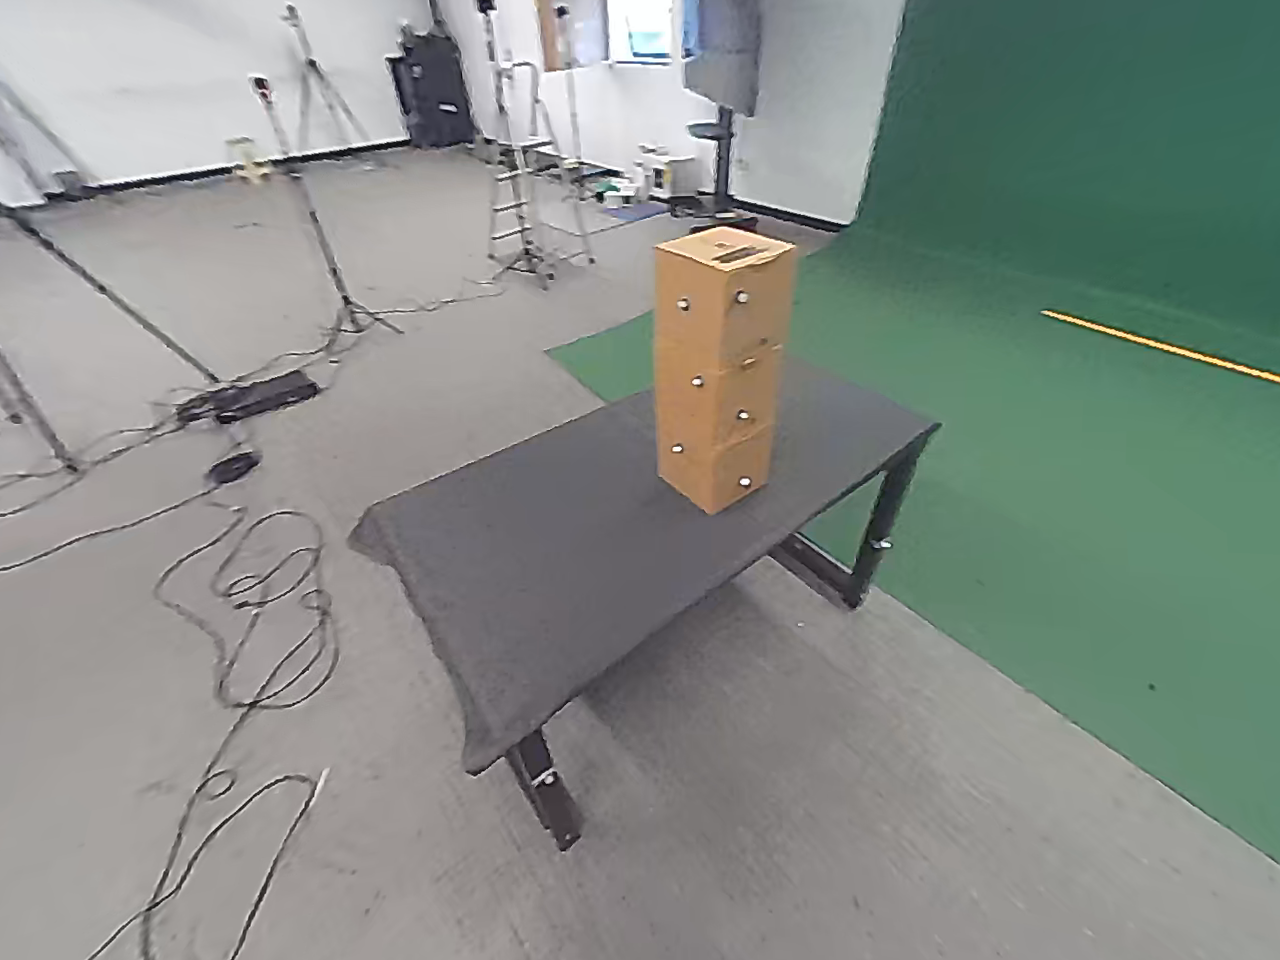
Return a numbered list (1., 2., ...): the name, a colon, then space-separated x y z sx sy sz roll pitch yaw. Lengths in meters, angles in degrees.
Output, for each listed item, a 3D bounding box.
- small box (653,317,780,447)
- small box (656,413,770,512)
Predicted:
1. small box: 0.139 -0.190 1.042 0.168 0.176 0.179 -28 47 -27
2. small box: 0.148 -0.064 1.144 0.168 0.176 0.179 -28 47 -27
